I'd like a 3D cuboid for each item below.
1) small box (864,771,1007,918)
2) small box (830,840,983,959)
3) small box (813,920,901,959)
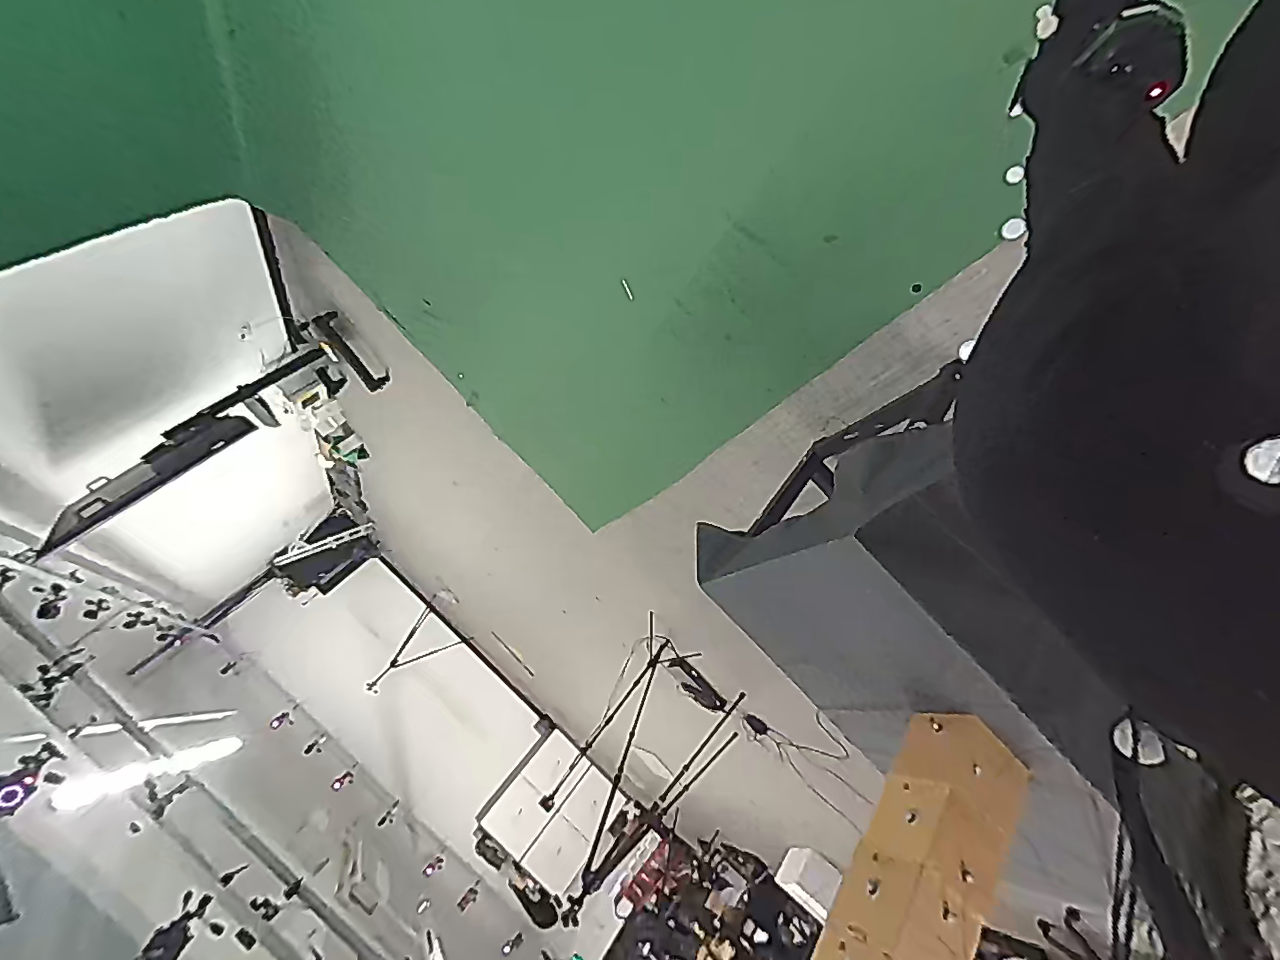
[{"bbox_3d":[0.609,0.733,1.114,0.179,0.176,0.168,46,149,-2],"label":"small box"},{"bbox_3d":[0.510,0.837,1.035,0.179,0.176,0.168,47,149,-3],"label":"small box"},{"bbox_3d":[0.413,0.942,0.953,0.179,0.176,0.168,46,148,-2],"label":"small box"}]
